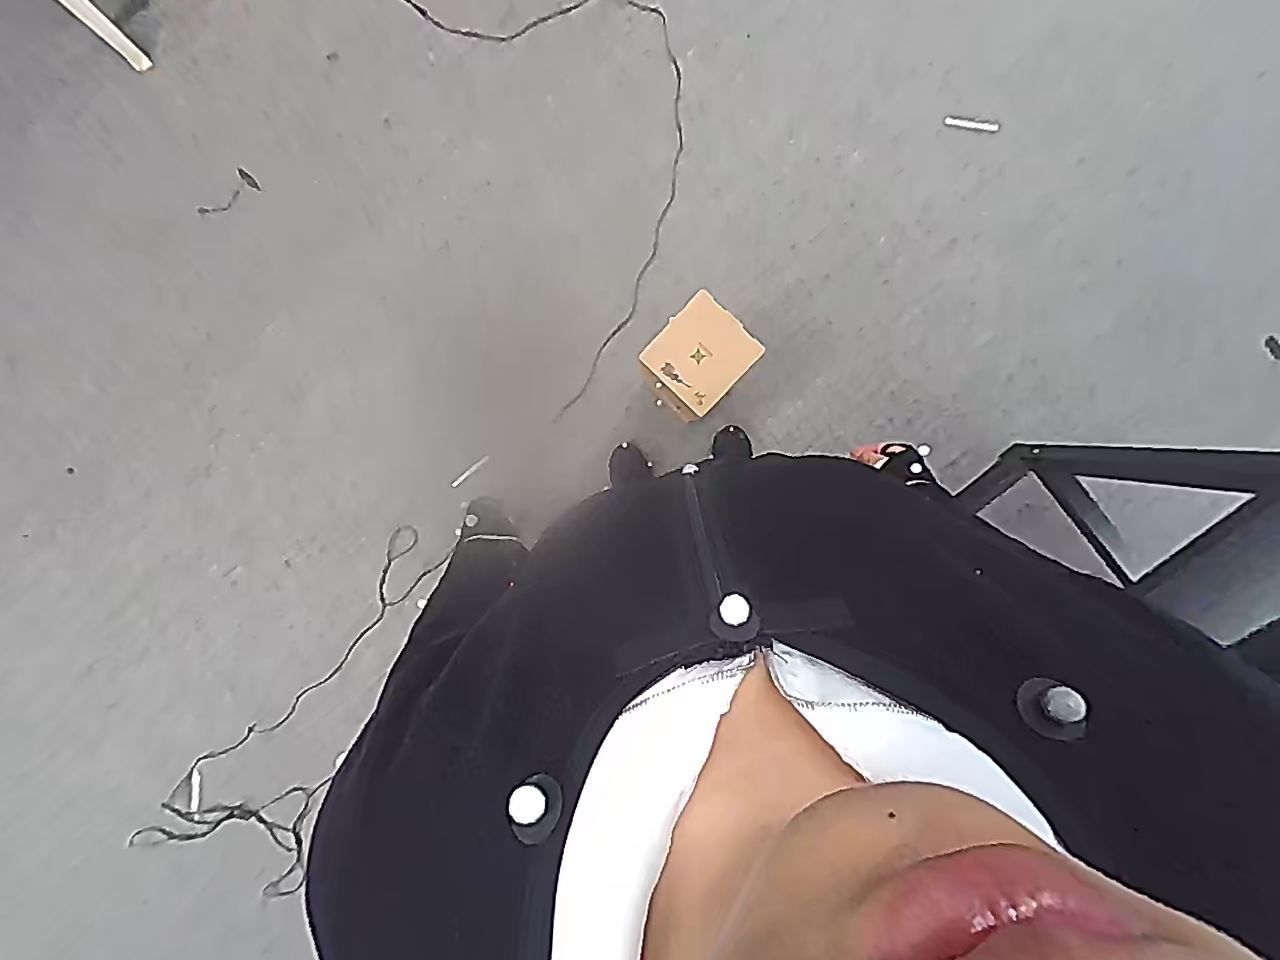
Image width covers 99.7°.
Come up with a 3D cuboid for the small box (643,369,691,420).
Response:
[{"bbox_3d":[0.122,-0.272,1.401,0.179,0.176,0.168,-43,92,6],"label":"small box"}]

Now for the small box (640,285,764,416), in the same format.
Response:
[{"bbox_3d":[0.114,-0.247,1.075,0.168,0.176,0.179,44,94,-1],"label":"small box"}]
